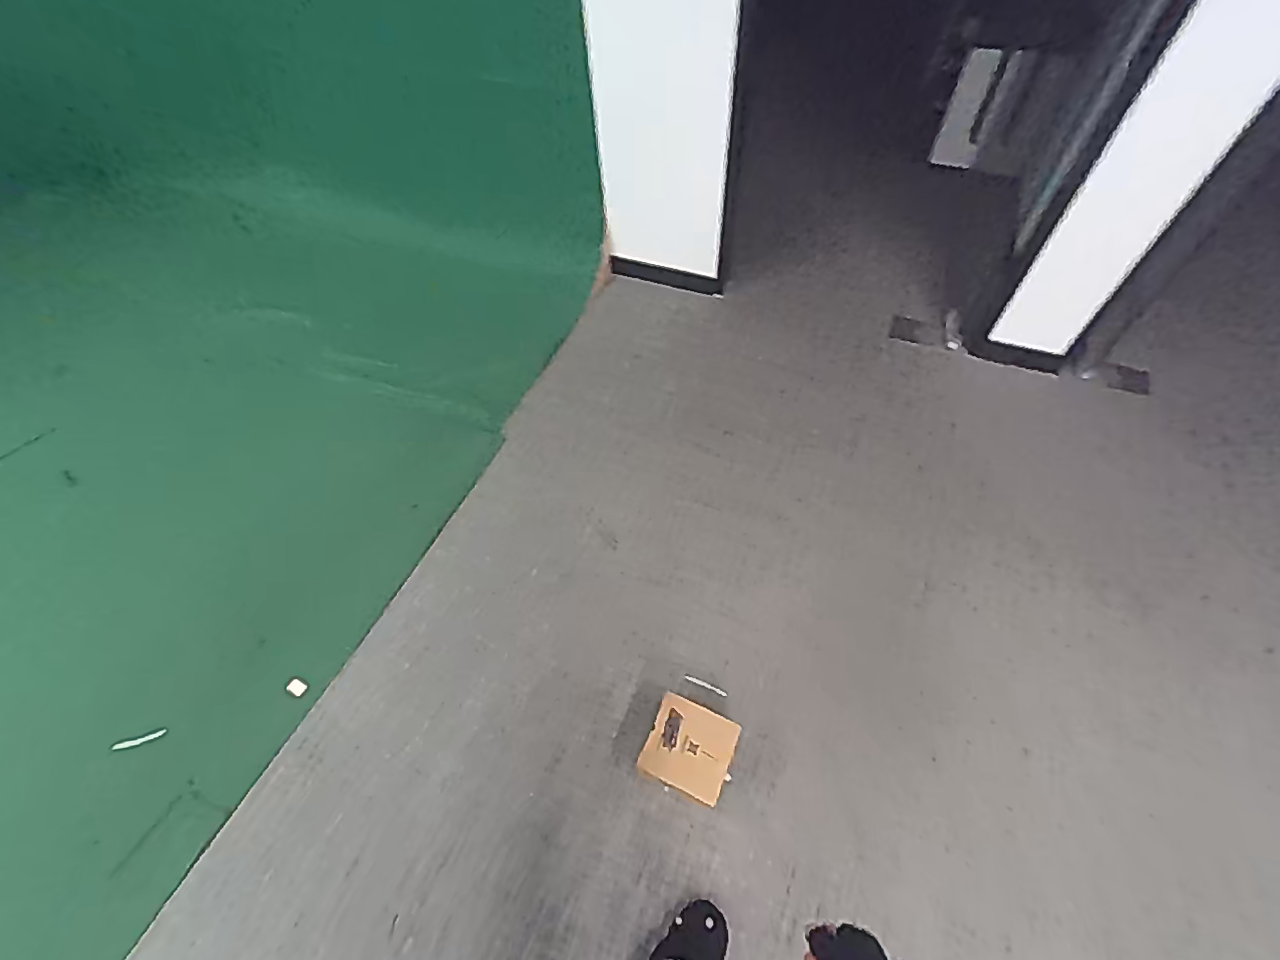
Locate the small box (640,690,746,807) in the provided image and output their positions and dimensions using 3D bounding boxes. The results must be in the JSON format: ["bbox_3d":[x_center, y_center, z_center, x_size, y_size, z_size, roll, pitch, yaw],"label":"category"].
[{"bbox_3d":[0.116,0.596,1.188,0.179,0.176,0.168,21,60,17],"label":"small box"}]
